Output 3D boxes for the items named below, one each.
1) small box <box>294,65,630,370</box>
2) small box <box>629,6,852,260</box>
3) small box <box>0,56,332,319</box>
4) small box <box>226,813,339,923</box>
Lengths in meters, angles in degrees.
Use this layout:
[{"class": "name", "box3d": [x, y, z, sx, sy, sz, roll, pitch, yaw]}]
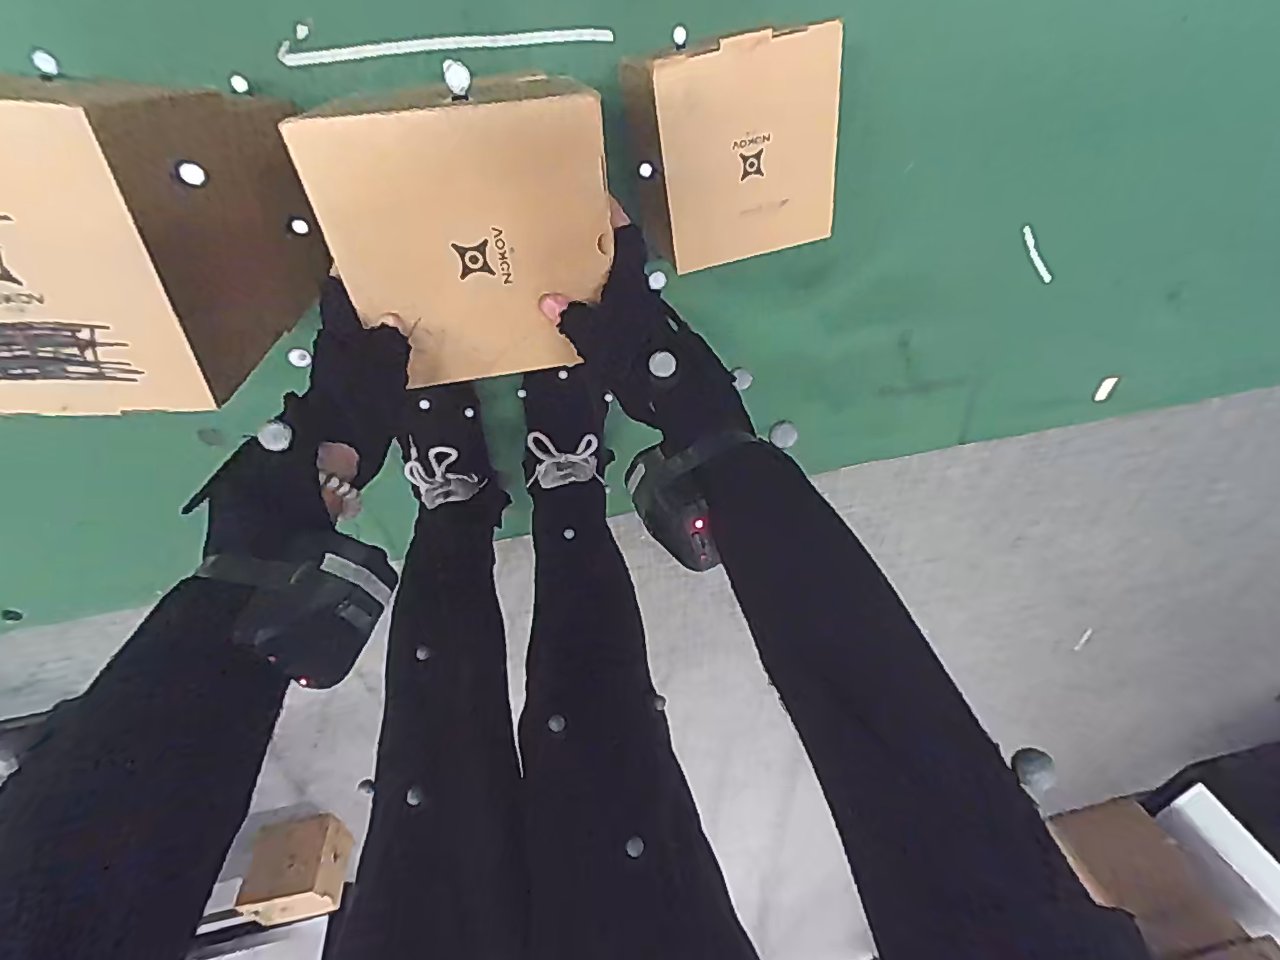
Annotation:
[{"class": "small box", "box3d": [-0.111, -0.202, 0.404, 0.179, 0.176, 0.168, -10, 130, -8]}, {"class": "small box", "box3d": [0.091, -0.350, 0.551, 0.168, 0.176, 0.179, -14, 130, -3]}, {"class": "small box", "box3d": [-0.403, -0.265, 0.490, 0.168, 0.176, 0.179, -1, 129, -13]}, {"class": "small box", "box3d": [-0.870, 0.958, 1.343, 0.179, 0.176, 0.168, -7, 129, -9]}]
